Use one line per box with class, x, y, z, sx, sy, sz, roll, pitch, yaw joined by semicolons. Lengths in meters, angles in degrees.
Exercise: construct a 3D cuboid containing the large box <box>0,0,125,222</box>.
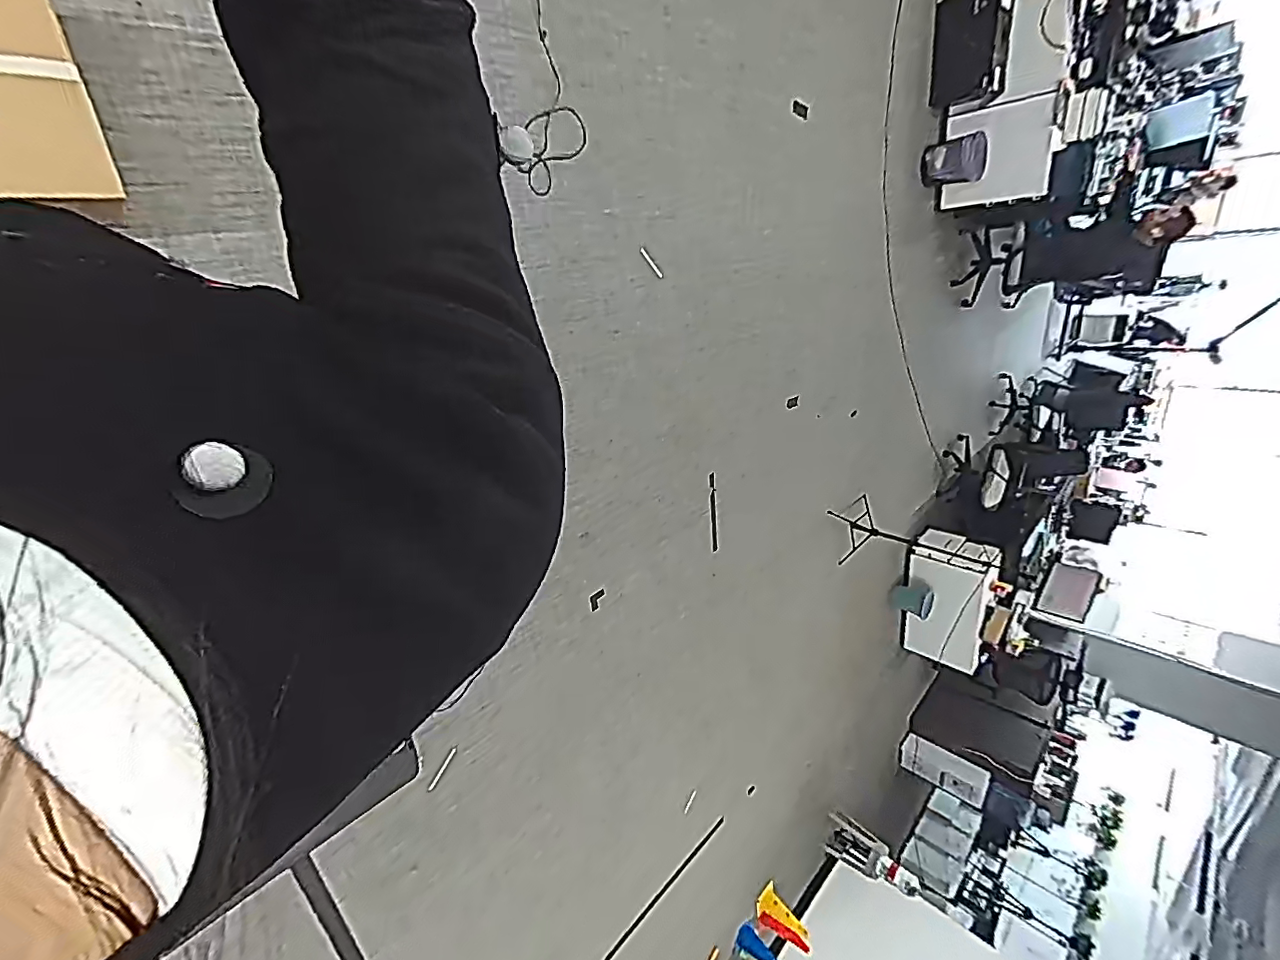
large box;-1.030;-0.535;0.730;0.408;0.320;0.320;-25;119;-40
